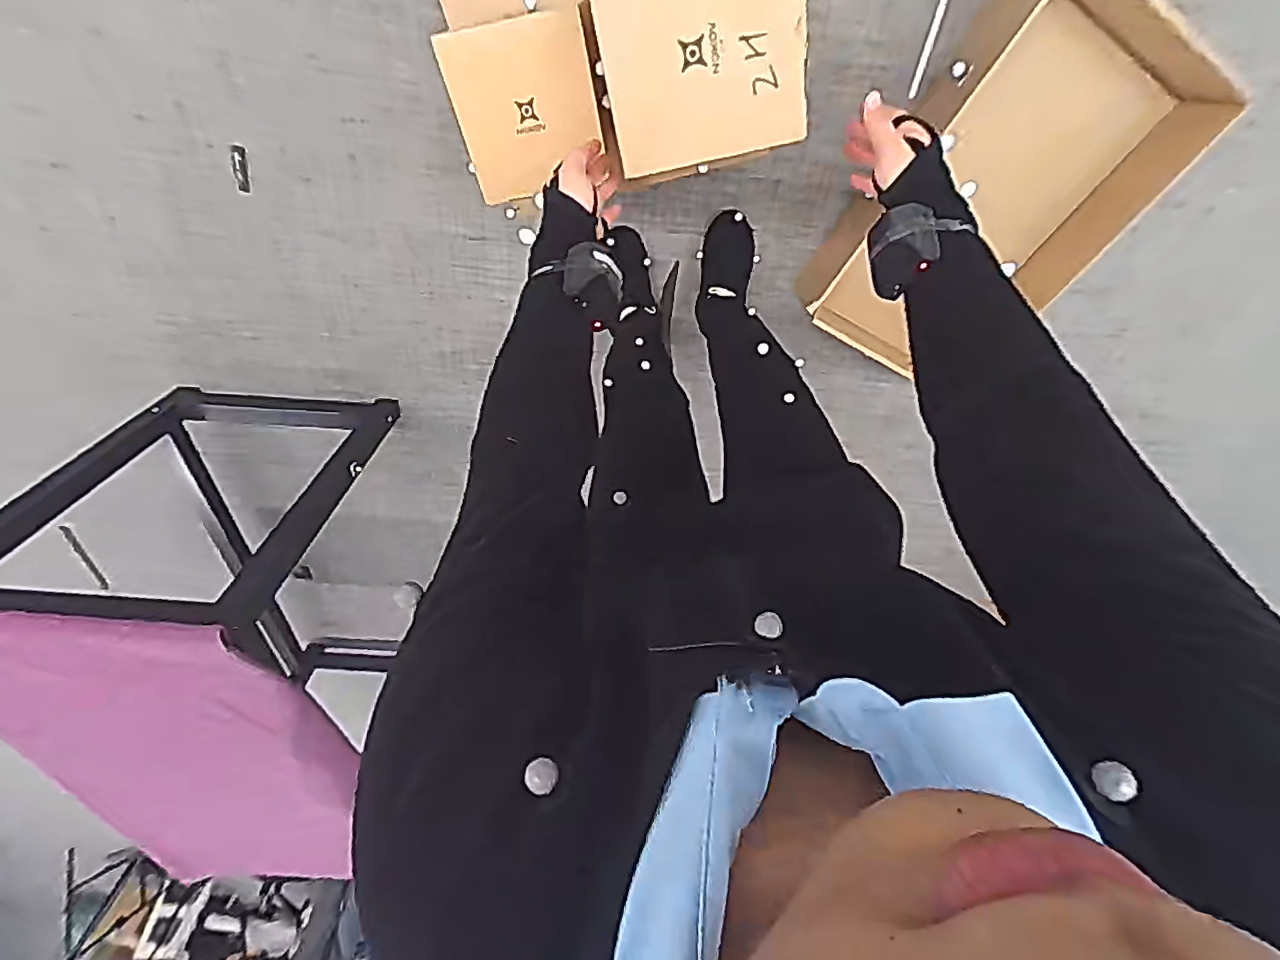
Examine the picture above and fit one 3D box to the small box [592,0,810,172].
[{"bbox_3d":[0.059,-0.416,0.519,0.179,0.176,0.168,-8,129,9],"label":"small box"}]
